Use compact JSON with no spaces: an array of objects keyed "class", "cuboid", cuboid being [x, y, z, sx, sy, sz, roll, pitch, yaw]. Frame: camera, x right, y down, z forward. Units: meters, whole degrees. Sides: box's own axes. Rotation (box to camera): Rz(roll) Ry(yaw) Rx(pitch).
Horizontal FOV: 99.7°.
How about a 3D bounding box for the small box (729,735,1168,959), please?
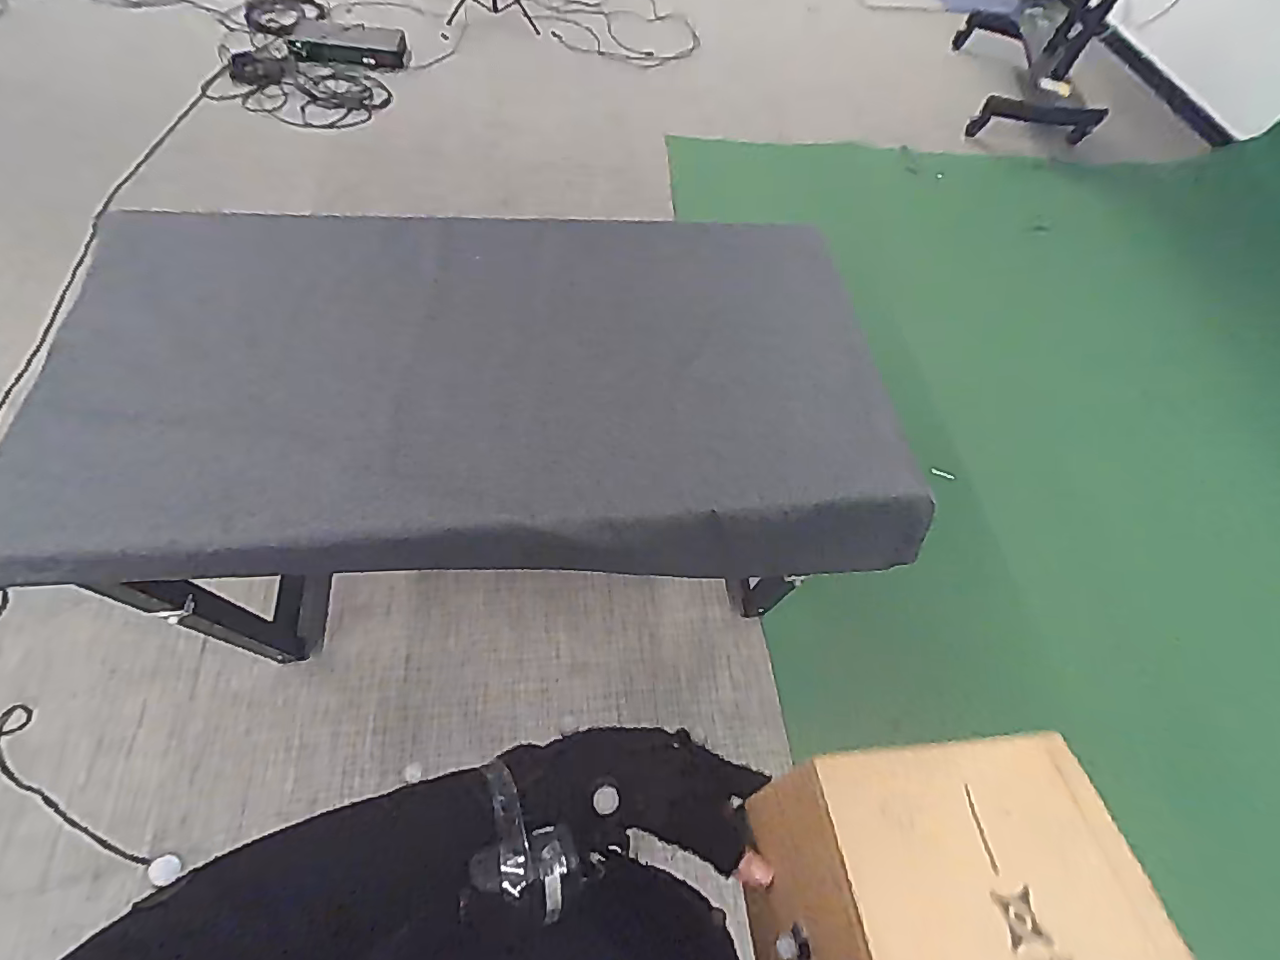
[{"class":"small box","cuboid":[0.167,0.274,0.325,0.168,0.176,0.179,1,49,-11]}]
